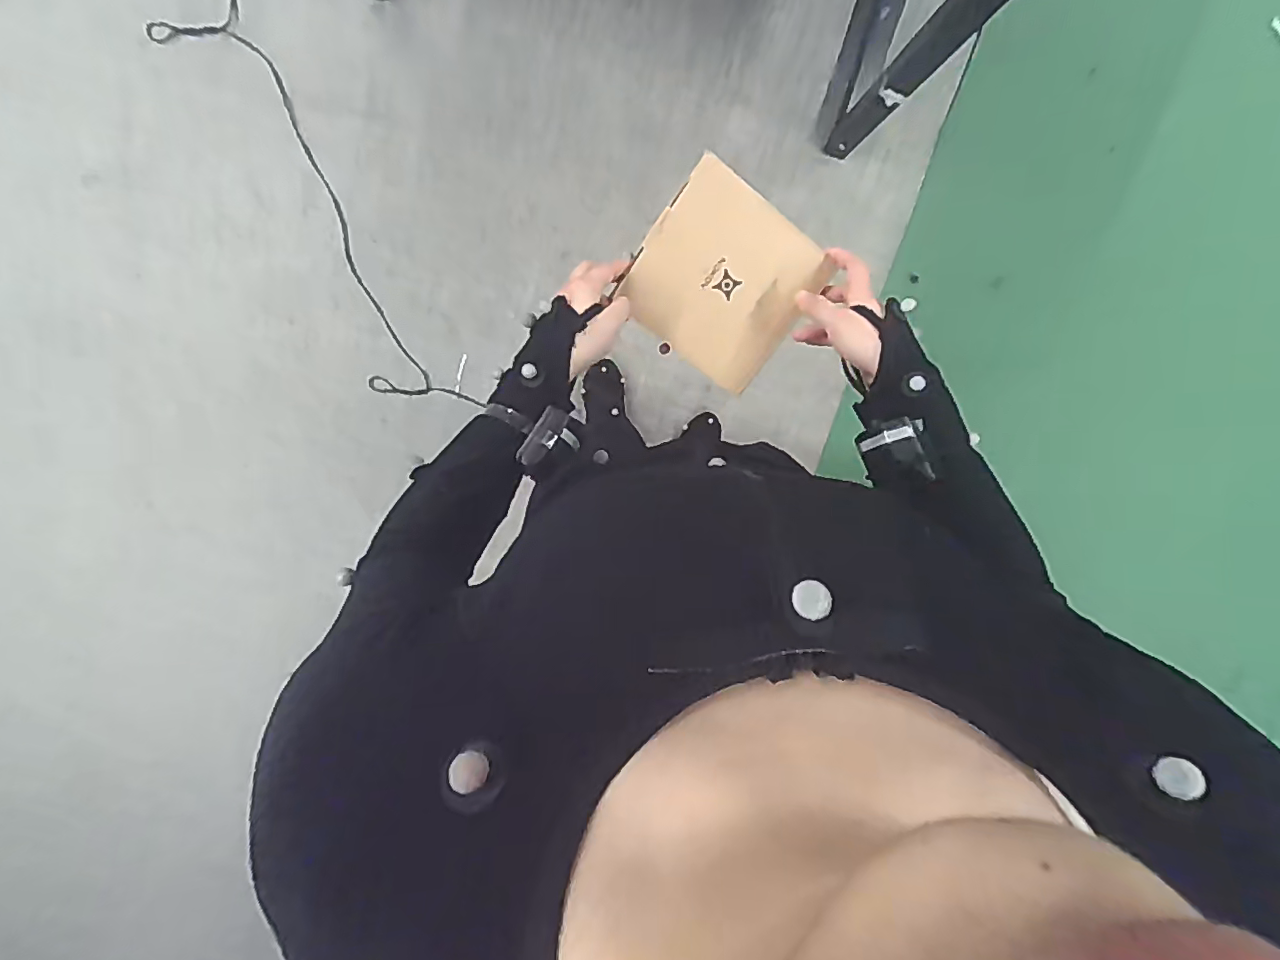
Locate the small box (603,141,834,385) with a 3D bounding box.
[{"bbox_3d":[0.075,-0.235,0.613,0.179,0.176,0.168,33,108,-14],"label":"small box"}]

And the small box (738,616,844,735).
[{"bbox_3d":[0.348,0.460,1.292,0.168,0.176,0.179,25,101,-6],"label":"small box"}]
